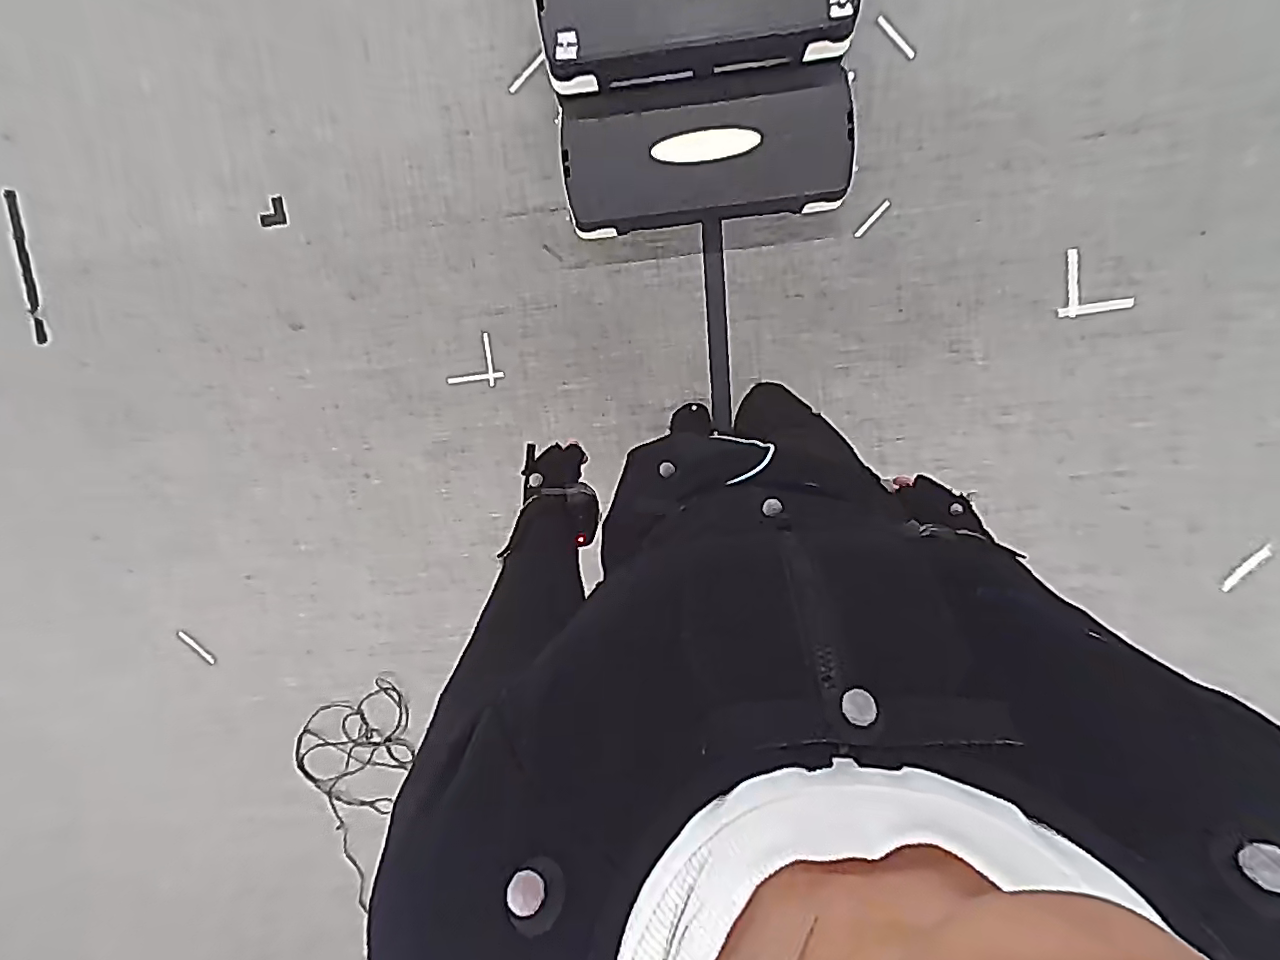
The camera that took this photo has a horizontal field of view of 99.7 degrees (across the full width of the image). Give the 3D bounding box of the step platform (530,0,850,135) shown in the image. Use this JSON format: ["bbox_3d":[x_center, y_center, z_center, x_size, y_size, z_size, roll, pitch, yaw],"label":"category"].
[{"bbox_3d":[0.102,-1.005,1.199,0.684,0.204,0.286,-6,99,4],"label":"step platform"}]
